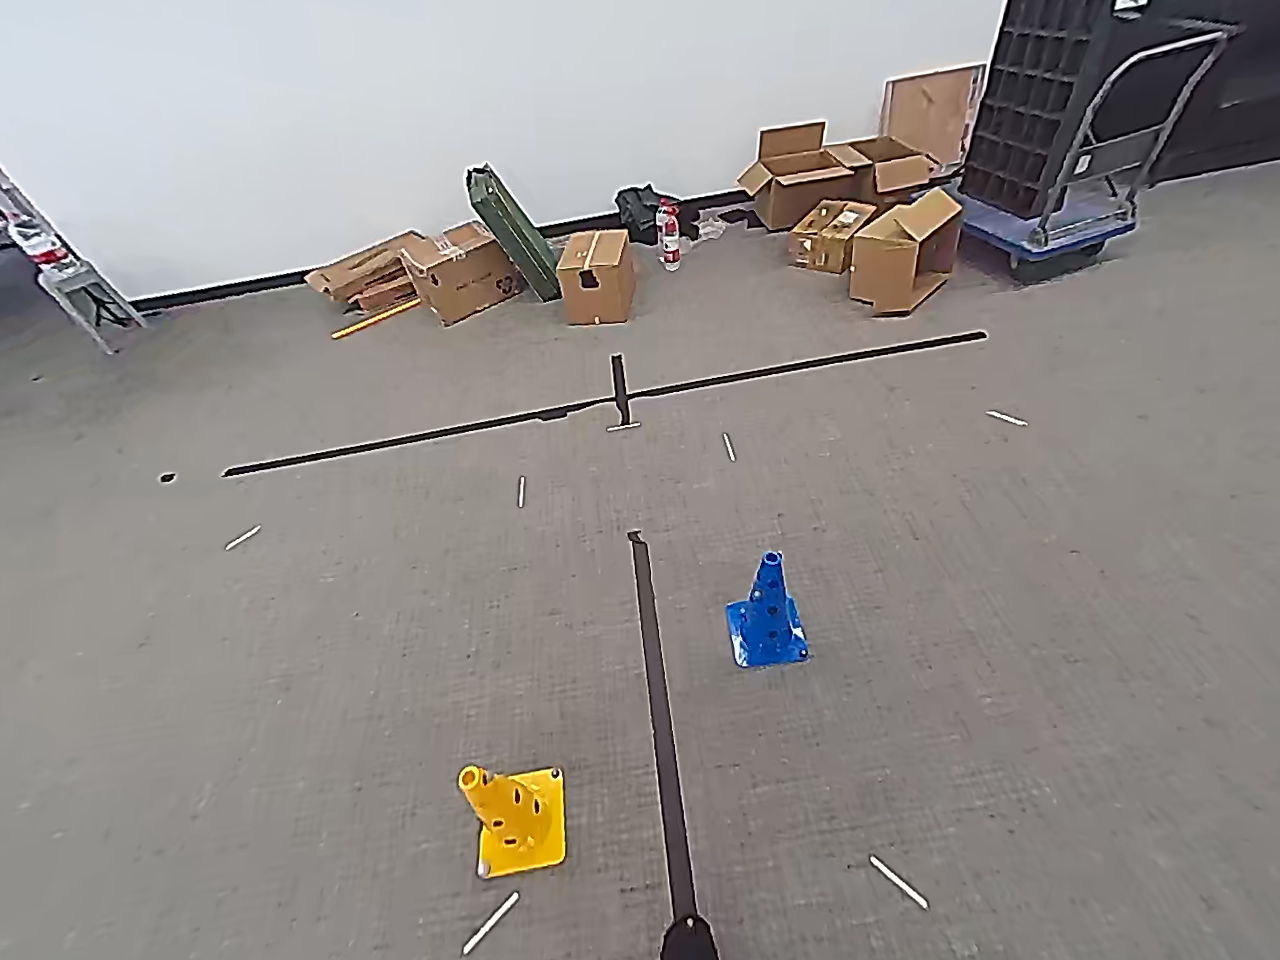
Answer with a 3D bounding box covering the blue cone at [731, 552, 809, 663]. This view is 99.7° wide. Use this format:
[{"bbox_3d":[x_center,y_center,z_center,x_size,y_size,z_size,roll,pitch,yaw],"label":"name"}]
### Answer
[{"bbox_3d":[0.343,0.311,1.409,0.192,0.380,0.193,-6,46,3],"label":"blue cone"}]
